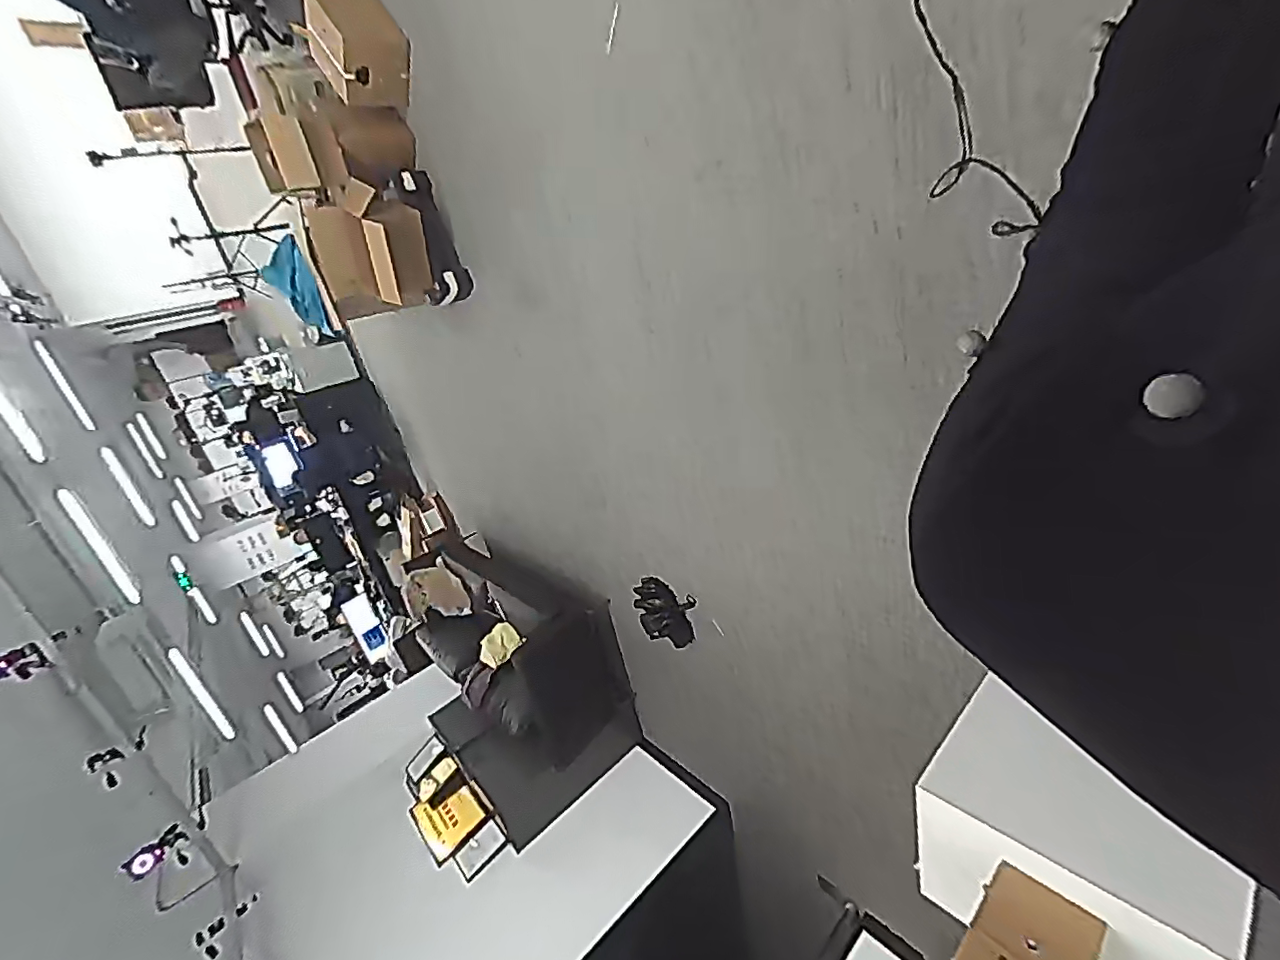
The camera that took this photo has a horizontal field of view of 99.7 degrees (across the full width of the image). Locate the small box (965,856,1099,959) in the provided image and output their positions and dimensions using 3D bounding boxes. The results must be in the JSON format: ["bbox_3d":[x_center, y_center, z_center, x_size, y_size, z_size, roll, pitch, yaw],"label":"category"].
[{"bbox_3d":[0.760,0.895,1.053,0.179,0.176,0.168,16,126,49],"label":"small box"}]

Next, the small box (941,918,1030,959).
[{"bbox_3d":[0.638,0.959,0.970,0.168,0.176,0.179,14,124,50],"label":"small box"}]
